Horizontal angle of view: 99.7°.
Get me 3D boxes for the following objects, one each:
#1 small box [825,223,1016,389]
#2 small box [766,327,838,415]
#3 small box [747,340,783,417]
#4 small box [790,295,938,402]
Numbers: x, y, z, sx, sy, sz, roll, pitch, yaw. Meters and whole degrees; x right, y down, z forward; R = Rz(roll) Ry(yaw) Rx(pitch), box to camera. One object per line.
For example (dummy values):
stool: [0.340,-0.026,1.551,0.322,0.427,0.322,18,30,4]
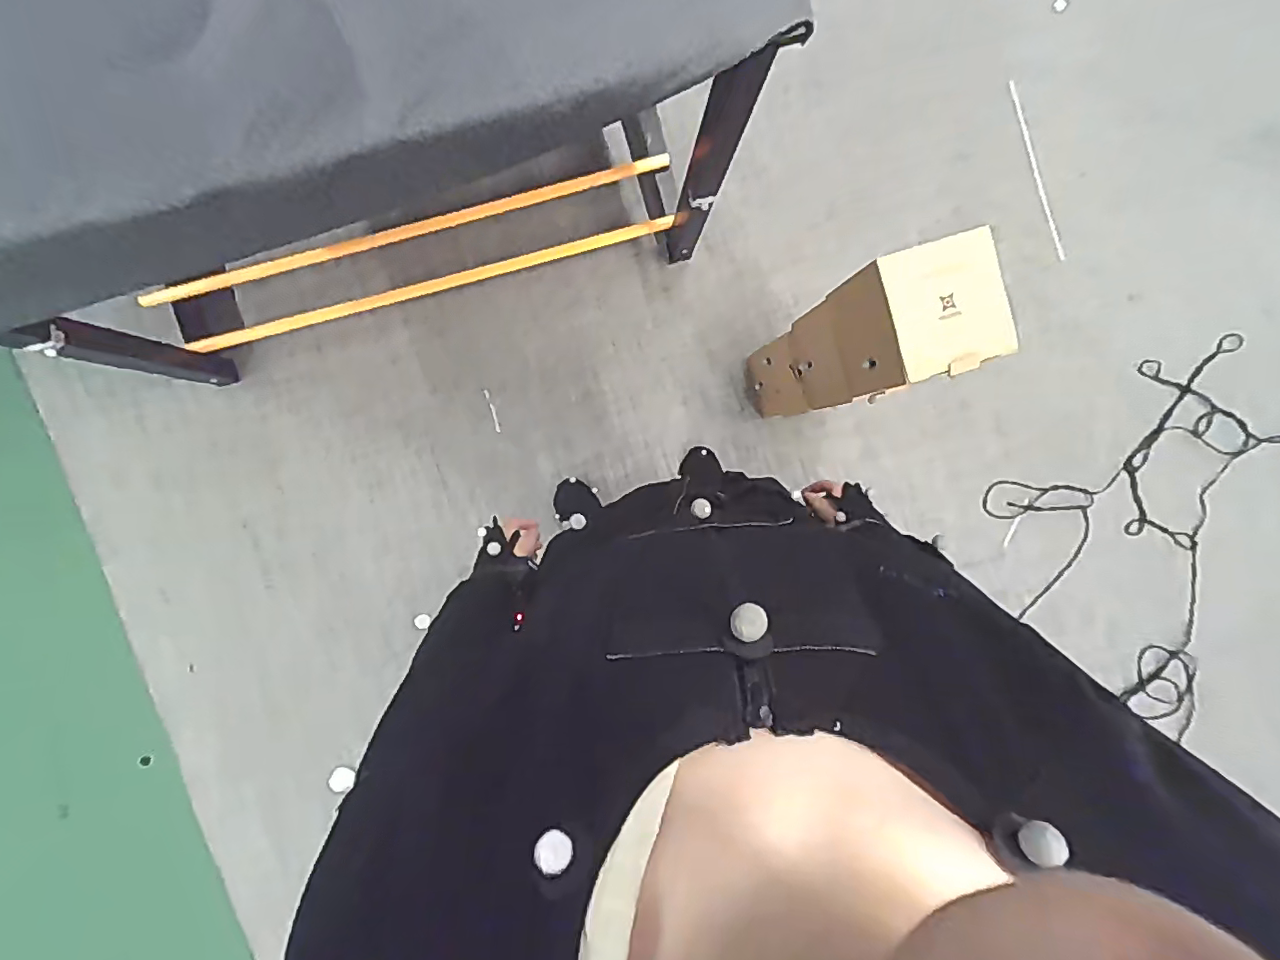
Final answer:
small box: [0.402,-0.242,0.802,0.168,0.176,0.179,-18,92,-4]
small box: [0.378,-0.242,1.128,0.179,0.176,0.168,-19,93,-4]
small box: [0.376,-0.255,1.290,0.179,0.176,0.168,-16,92,-4]
small box: [0.391,-0.243,0.963,0.168,0.176,0.179,-17,94,-4]
